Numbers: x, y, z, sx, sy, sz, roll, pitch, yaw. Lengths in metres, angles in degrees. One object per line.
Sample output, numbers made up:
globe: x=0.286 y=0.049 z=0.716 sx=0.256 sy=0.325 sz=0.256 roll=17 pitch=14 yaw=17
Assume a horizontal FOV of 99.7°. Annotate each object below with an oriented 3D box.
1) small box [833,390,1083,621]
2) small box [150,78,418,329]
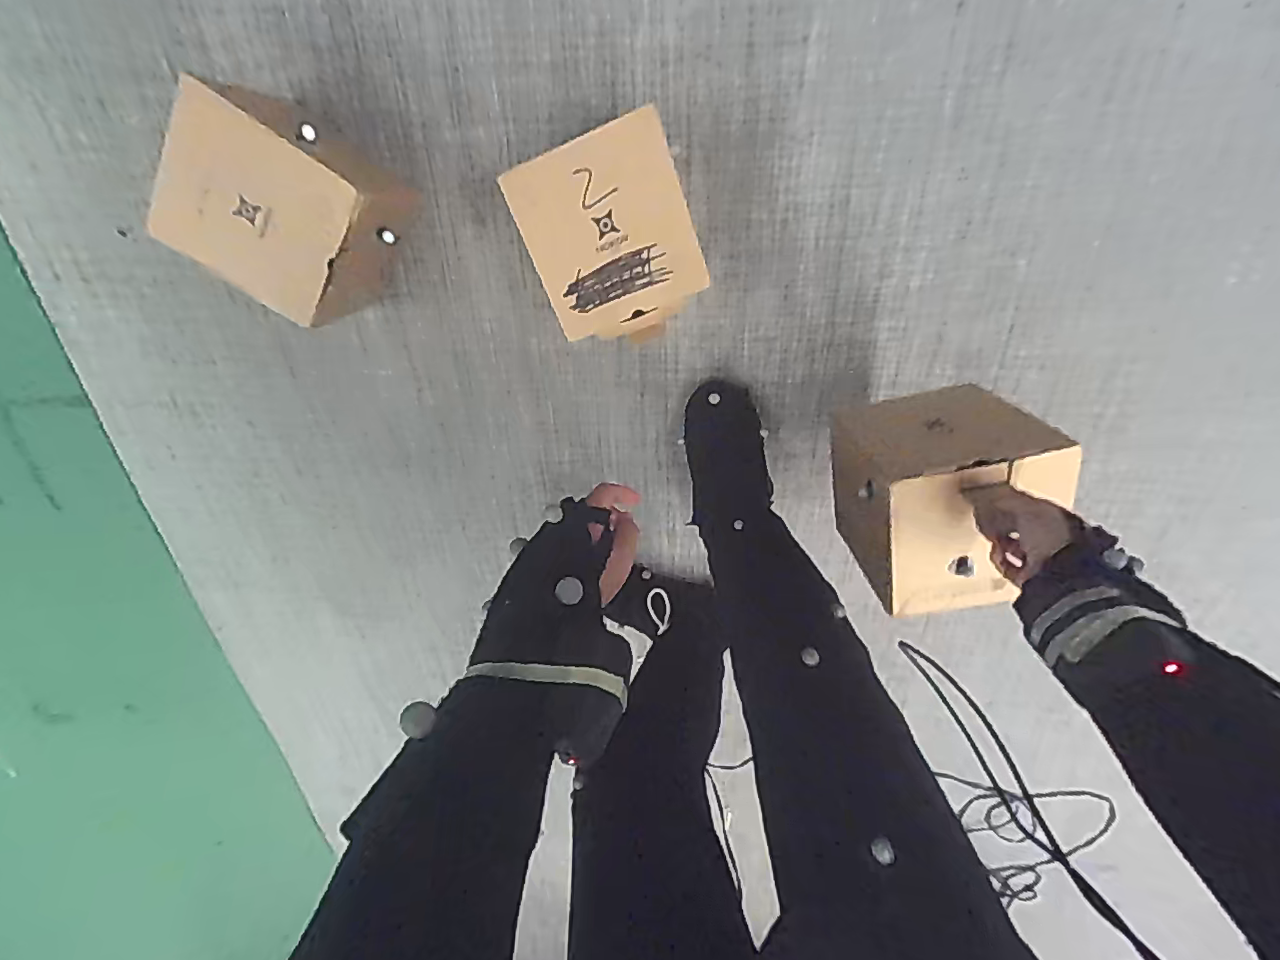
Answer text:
small box: x=0.316 y=0.022 z=0.579 sx=0.168 sy=0.179 sz=0.176 roll=-11 pitch=117 yaw=6
small box: x=-0.385 y=-0.304 z=0.614 sx=0.179 sy=0.176 sz=0.168 roll=32 pitch=113 yaw=-13
